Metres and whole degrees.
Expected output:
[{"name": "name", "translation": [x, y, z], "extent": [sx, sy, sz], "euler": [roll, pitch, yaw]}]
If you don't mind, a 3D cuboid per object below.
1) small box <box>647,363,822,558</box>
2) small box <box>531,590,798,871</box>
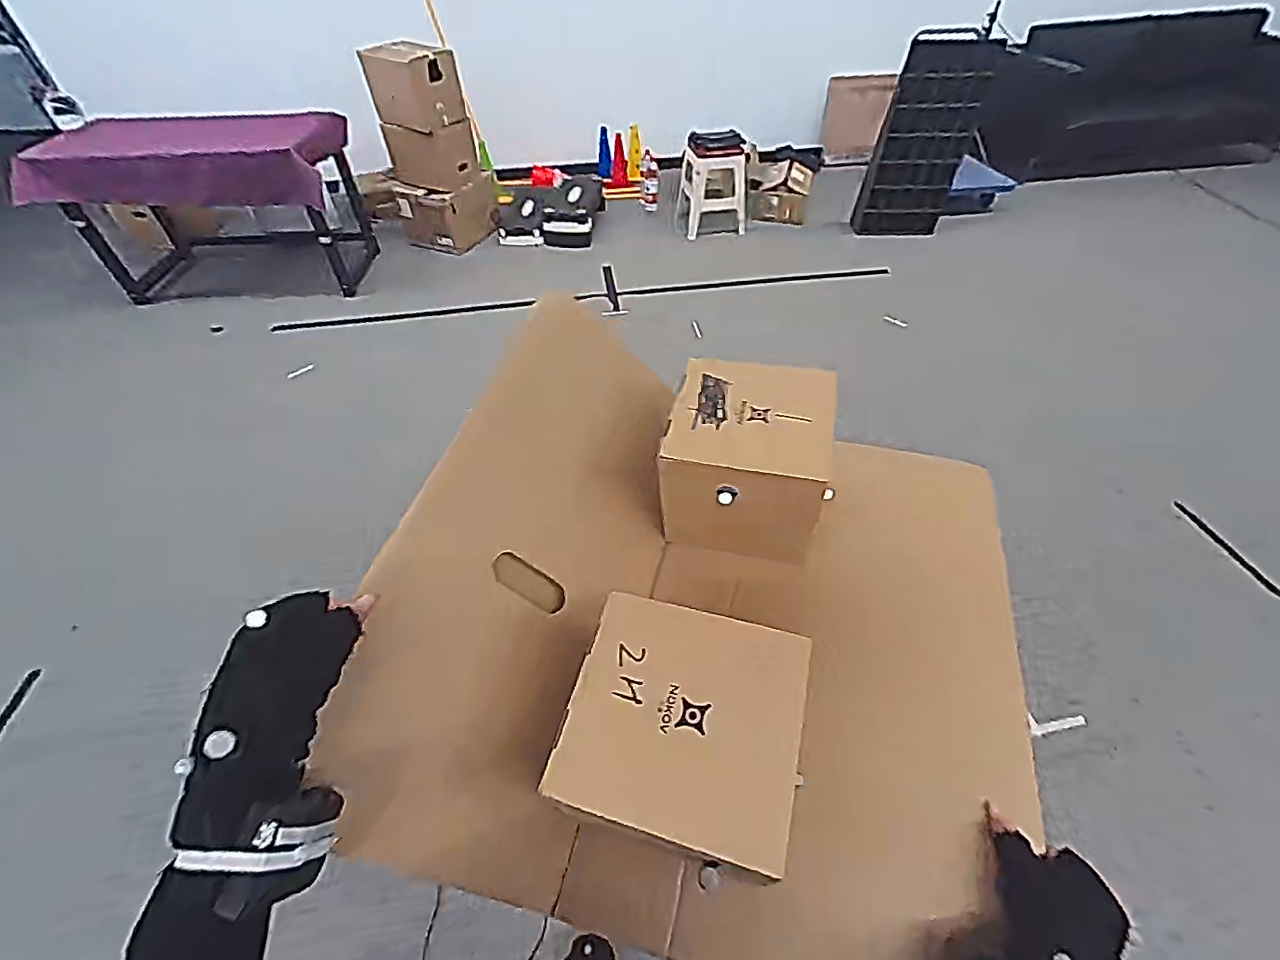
[{"name": "small box", "translation": [0.117, -0.021, 0.669], "extent": [0.179, 0.176, 0.168], "euler": [9, 54, 13]}, {"name": "small box", "translation": [0.032, 0.226, 0.485], "extent": [0.179, 0.176, 0.168], "euler": [11, 54, 15]}]
